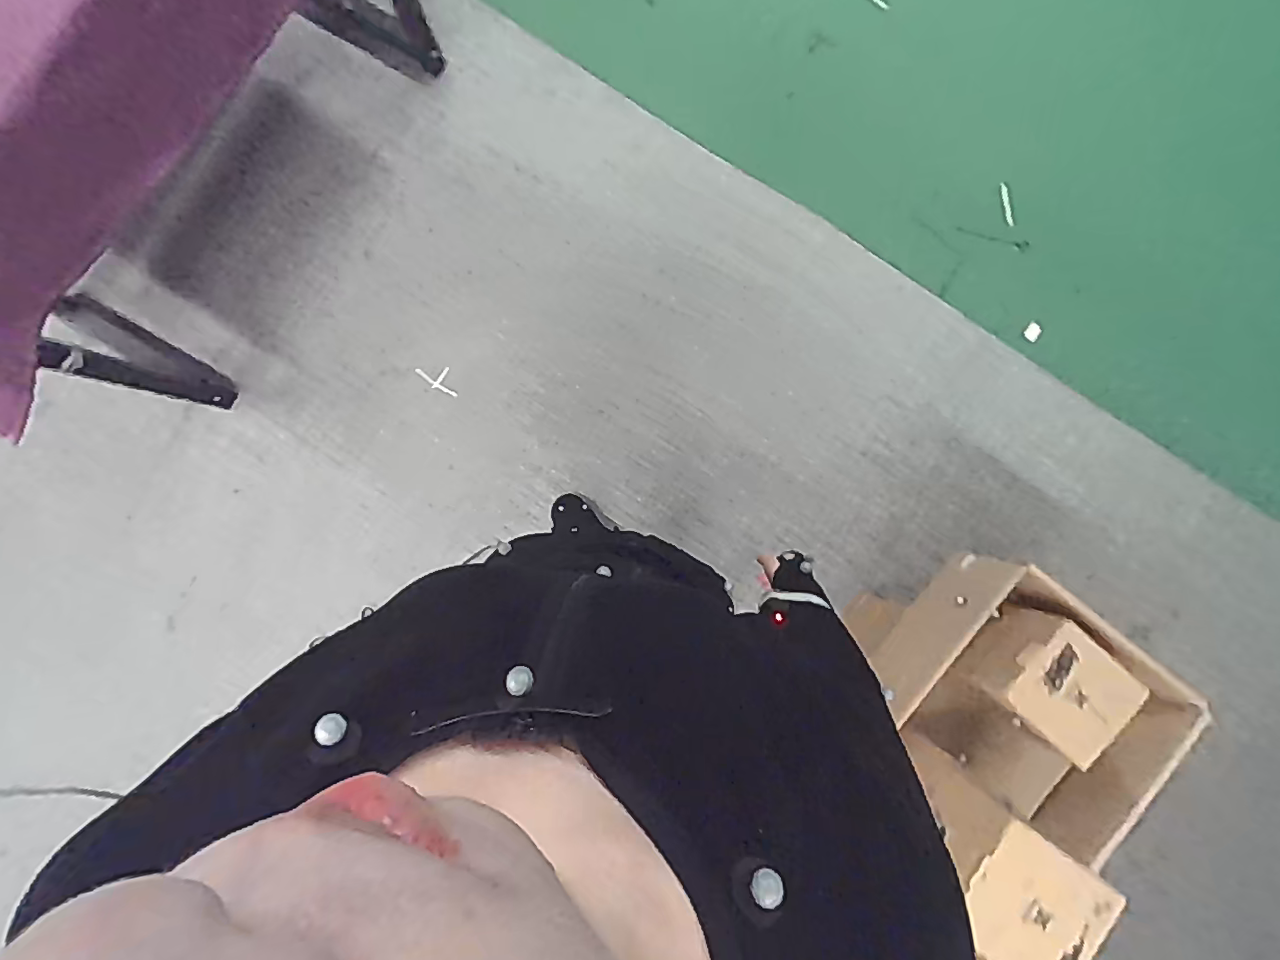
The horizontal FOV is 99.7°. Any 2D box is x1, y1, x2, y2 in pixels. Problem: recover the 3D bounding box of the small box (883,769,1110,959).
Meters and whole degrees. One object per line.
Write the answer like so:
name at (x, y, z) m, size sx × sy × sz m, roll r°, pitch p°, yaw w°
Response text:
small box at (0.490, 0.553, 0.775) m, size 0.179 × 0.176 × 0.168 m, roll 37°, pitch 87°, yaw 2°
